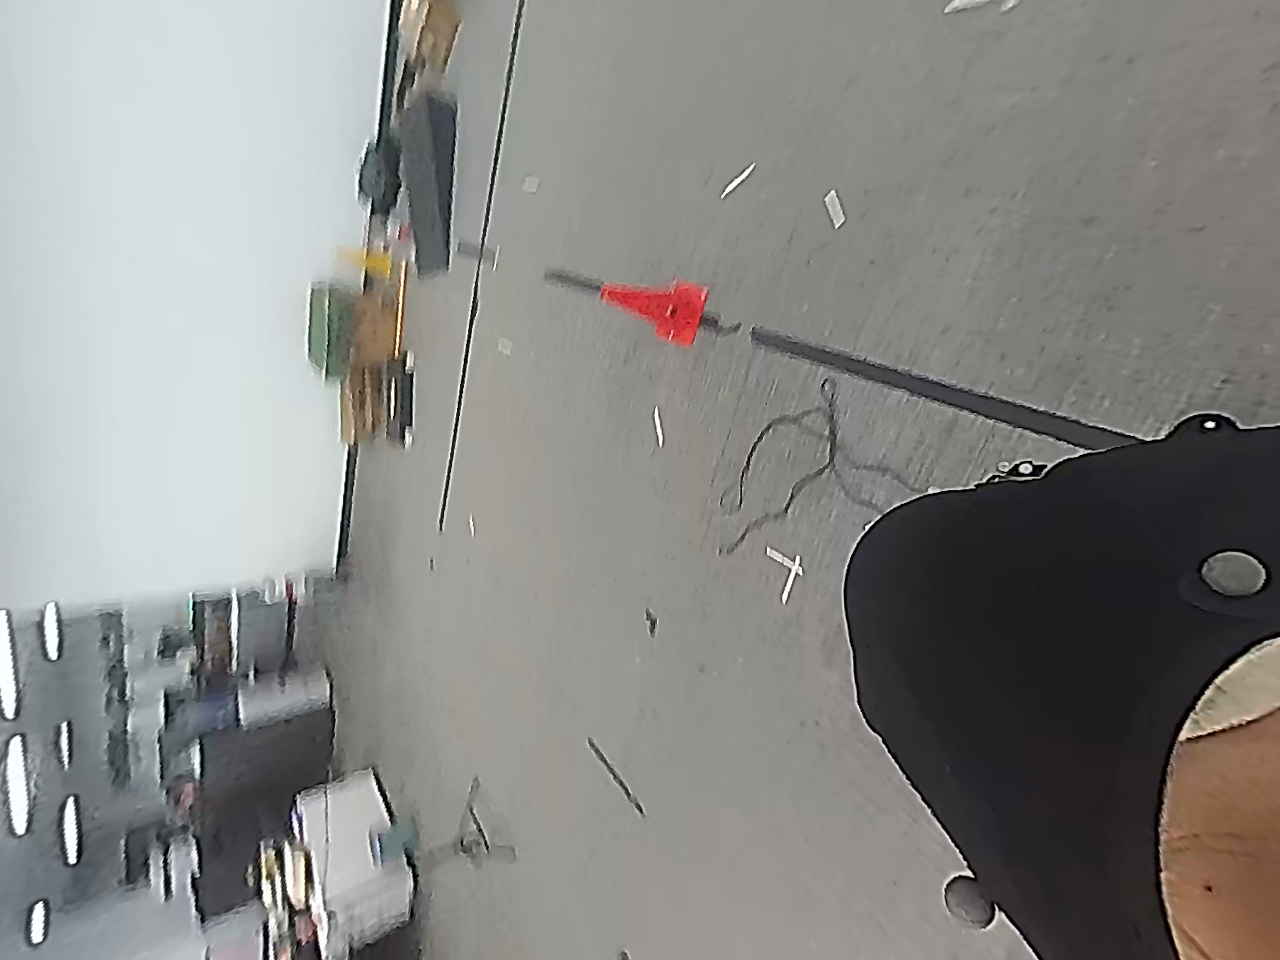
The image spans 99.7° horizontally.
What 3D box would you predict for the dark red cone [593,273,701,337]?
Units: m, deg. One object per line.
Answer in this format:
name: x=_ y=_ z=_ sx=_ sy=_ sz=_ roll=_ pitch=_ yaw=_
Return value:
dark red cone: x=0.006 y=-0.610 z=1.794 sx=0.202 sy=0.394 sz=0.201 roll=32 pitch=115 yaw=42
